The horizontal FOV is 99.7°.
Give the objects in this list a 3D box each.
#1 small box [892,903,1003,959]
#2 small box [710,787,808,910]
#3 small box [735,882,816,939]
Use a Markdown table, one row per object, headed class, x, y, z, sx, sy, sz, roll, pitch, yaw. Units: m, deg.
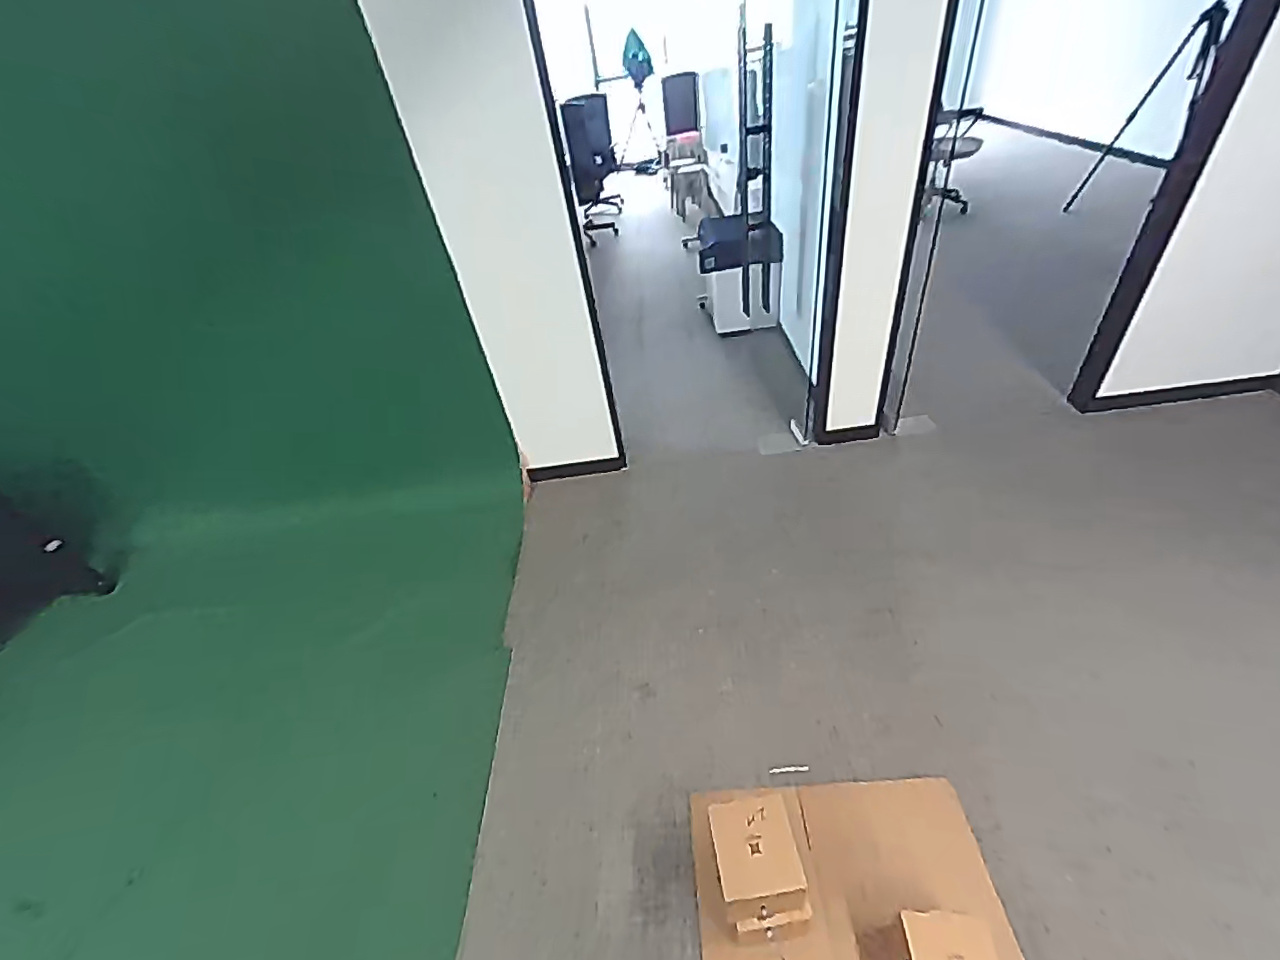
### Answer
| class | x | y | z | sx | sy | sz | roll | pitch | yaw |
| --- | --- | --- | --- | --- | --- | --- | --- | --- | --- |
| small box | 0.632 | 0.991 | 1.099 | 0.168 | 0.176 | 0.179 | -4 | 40 | 8 |
| small box | 0.250 | 0.793 | 1.159 | 0.168 | 0.176 | 0.179 | -9 | 40 | 0 |
| small box | 0.293 | 0.925 | 1.253 | 0.168 | 0.176 | 0.179 | -10 | 40 | 0 |
